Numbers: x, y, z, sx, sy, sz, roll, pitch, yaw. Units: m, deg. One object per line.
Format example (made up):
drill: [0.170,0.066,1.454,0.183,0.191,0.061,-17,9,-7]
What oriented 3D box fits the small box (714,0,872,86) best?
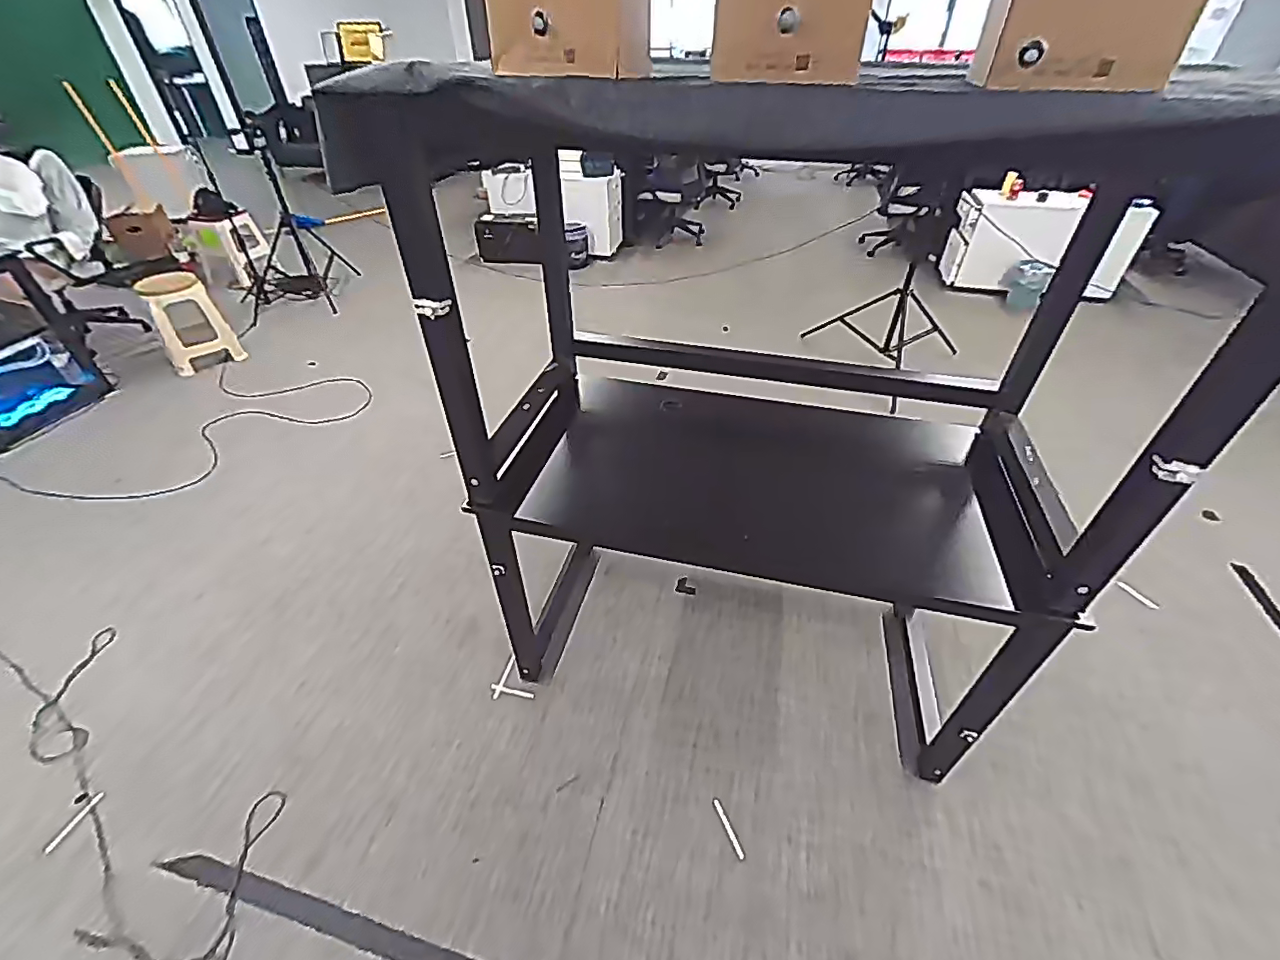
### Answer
small box: [0.183,-0.567,0.626,0.168,0.176,0.179,10,39,12]

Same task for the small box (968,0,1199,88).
small box: [0.474,-0.522,0.573,0.168,0.176,0.179,12,40,15]

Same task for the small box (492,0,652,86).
small box: [-0.082,-0.608,0.678,0.168,0.176,0.179,9,40,9]
